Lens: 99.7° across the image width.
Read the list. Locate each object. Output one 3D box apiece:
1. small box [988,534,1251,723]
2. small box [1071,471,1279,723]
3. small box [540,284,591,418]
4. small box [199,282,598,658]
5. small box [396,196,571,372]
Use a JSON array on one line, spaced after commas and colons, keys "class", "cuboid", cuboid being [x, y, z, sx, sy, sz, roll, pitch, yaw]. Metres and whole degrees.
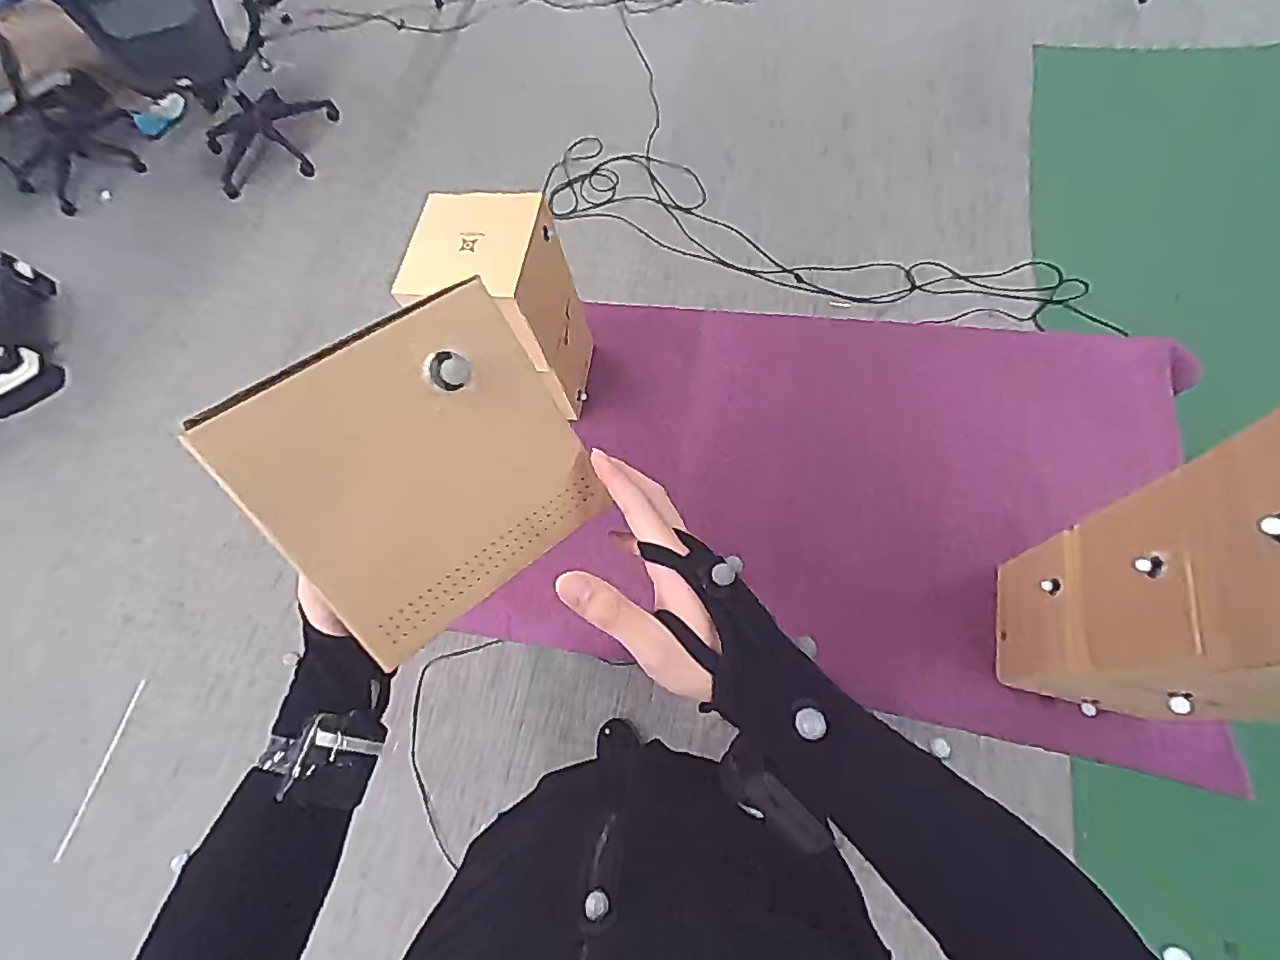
[{"class": "small box", "cuboid": [0.560, 0.183, 0.656, 0.179, 0.176, 0.168, 12, 68, 12]}, {"class": "small box", "cuboid": [0.542, 0.115, 0.508, 0.168, 0.176, 0.179, 11, 69, 14]}, {"class": "small box", "cuboid": [-0.191, -0.215, 0.922, 0.179, 0.176, 0.168, 4, 68, 10]}, {"class": "small box", "cuboid": [-0.151, -0.011, 0.391, 0.179, 0.168, 0.176, -37, 109, -20]}, {"class": "small box", "cuboid": [-0.206, -0.272, 0.771, 0.168, 0.176, 0.179, 5, 68, 10]}]
